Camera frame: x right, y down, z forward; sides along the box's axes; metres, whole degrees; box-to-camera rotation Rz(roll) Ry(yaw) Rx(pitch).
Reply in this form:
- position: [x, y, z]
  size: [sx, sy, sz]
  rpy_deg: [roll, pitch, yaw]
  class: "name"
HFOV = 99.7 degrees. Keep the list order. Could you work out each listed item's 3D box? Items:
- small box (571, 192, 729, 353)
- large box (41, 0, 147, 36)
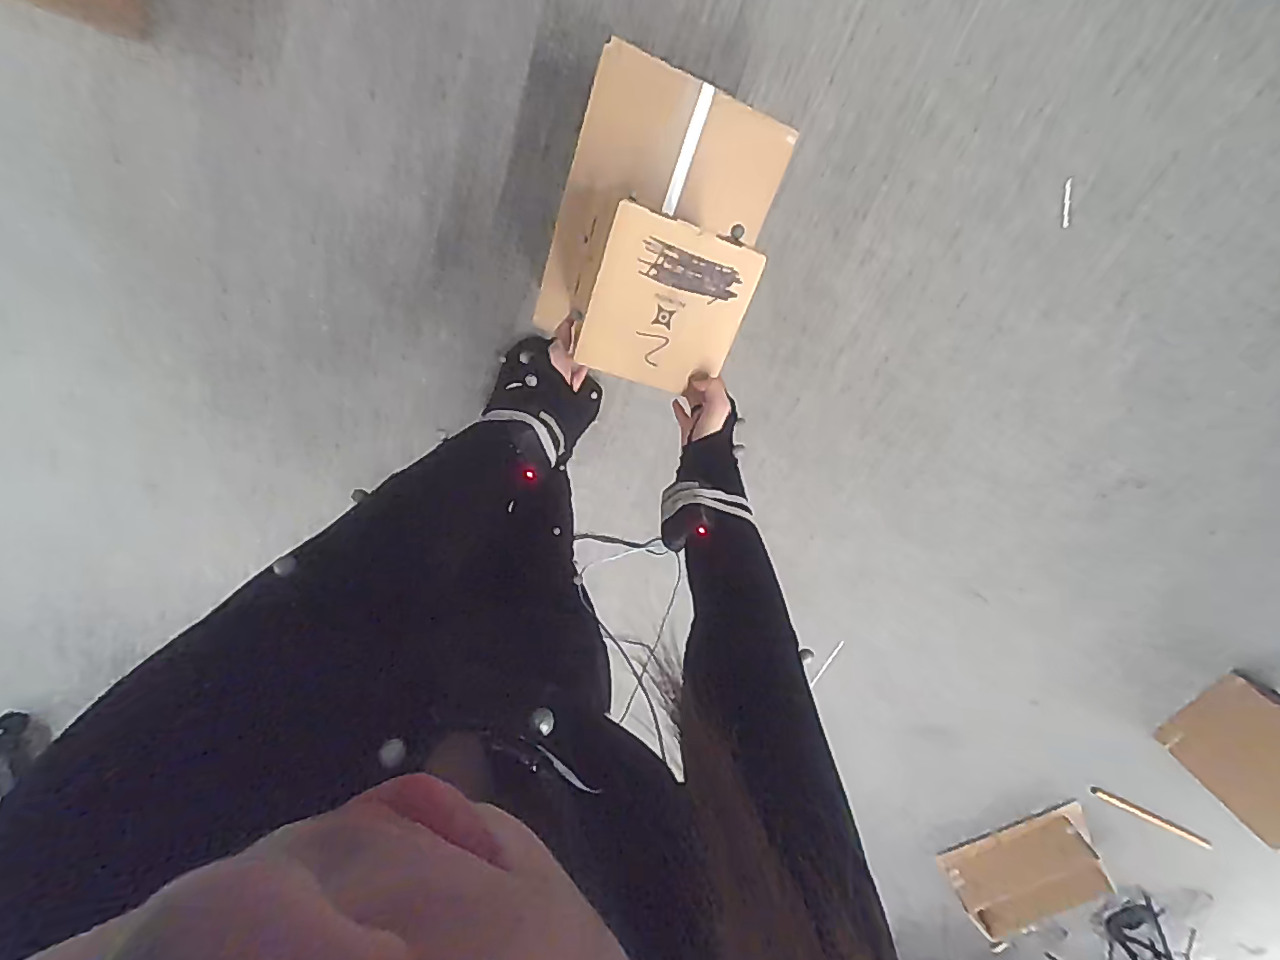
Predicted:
- position: [0.005, -0.310, 0.794]
  size: [0.179, 0.176, 0.168]
  rpy_deg: [15, 116, -13]
  class: "small box"
- position: [-0.870, -0.864, 0.644]
  size: [0.320, 0.320, 0.408]
  rpy_deg: [15, 114, -15]
  class: "large box"
